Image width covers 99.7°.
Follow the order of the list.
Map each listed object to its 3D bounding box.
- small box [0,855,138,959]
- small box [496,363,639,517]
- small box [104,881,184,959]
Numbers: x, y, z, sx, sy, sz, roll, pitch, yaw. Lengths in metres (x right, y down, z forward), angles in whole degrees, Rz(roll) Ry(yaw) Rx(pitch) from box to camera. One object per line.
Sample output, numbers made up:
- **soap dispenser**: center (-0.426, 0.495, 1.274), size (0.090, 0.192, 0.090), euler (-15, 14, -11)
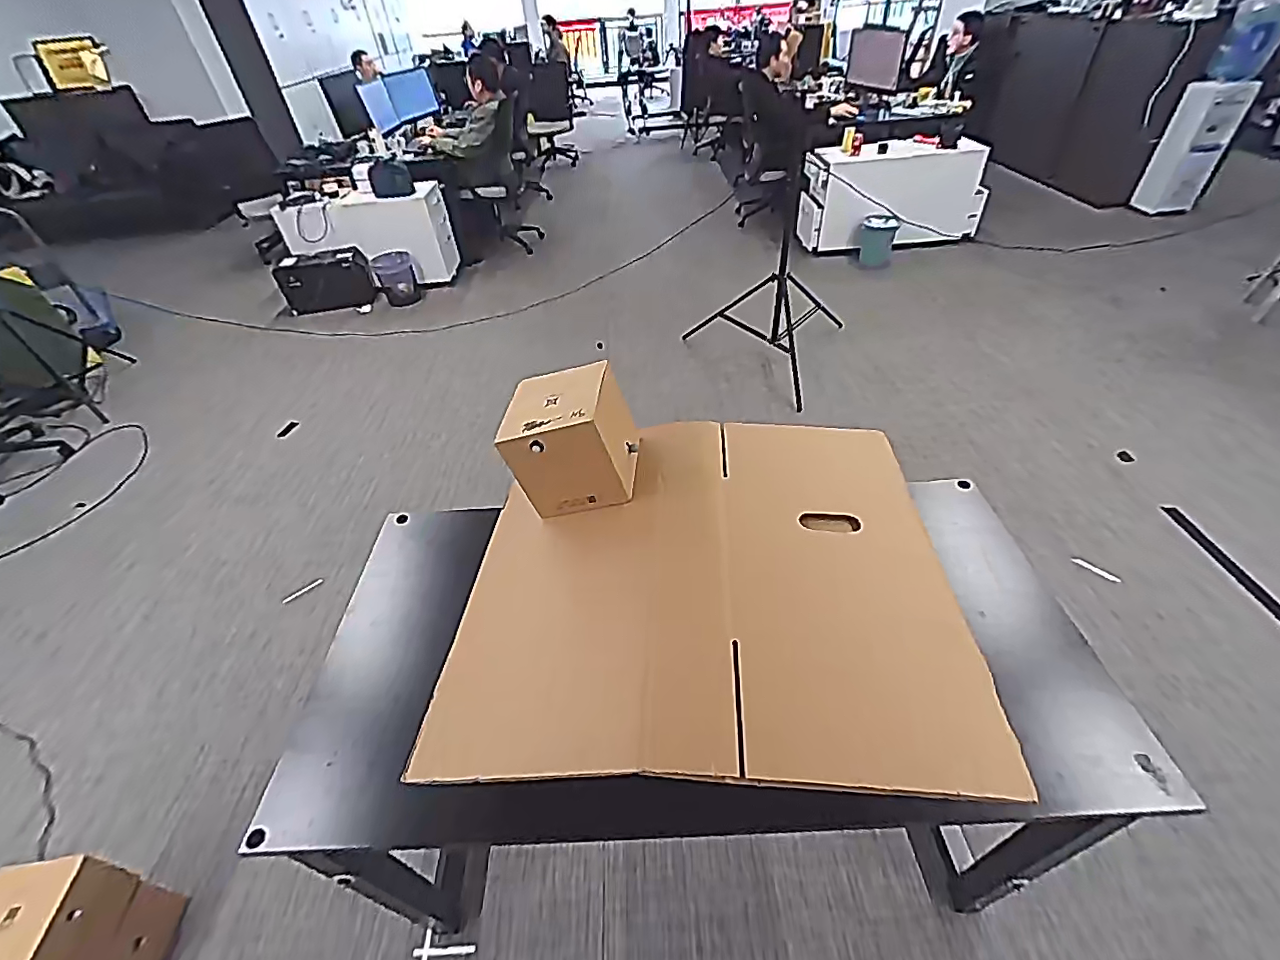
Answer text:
- **small box**: center (-1.149, 0.866, 1.050), size (0.168, 0.176, 0.179), euler (-8, 41, -4)
- **small box**: center (-0.107, -0.065, 0.900), size (0.168, 0.176, 0.179), euler (-12, 39, 16)
- **small box**: center (-1.136, 0.990, 1.154), size (0.168, 0.176, 0.179), euler (-7, 43, -1)
